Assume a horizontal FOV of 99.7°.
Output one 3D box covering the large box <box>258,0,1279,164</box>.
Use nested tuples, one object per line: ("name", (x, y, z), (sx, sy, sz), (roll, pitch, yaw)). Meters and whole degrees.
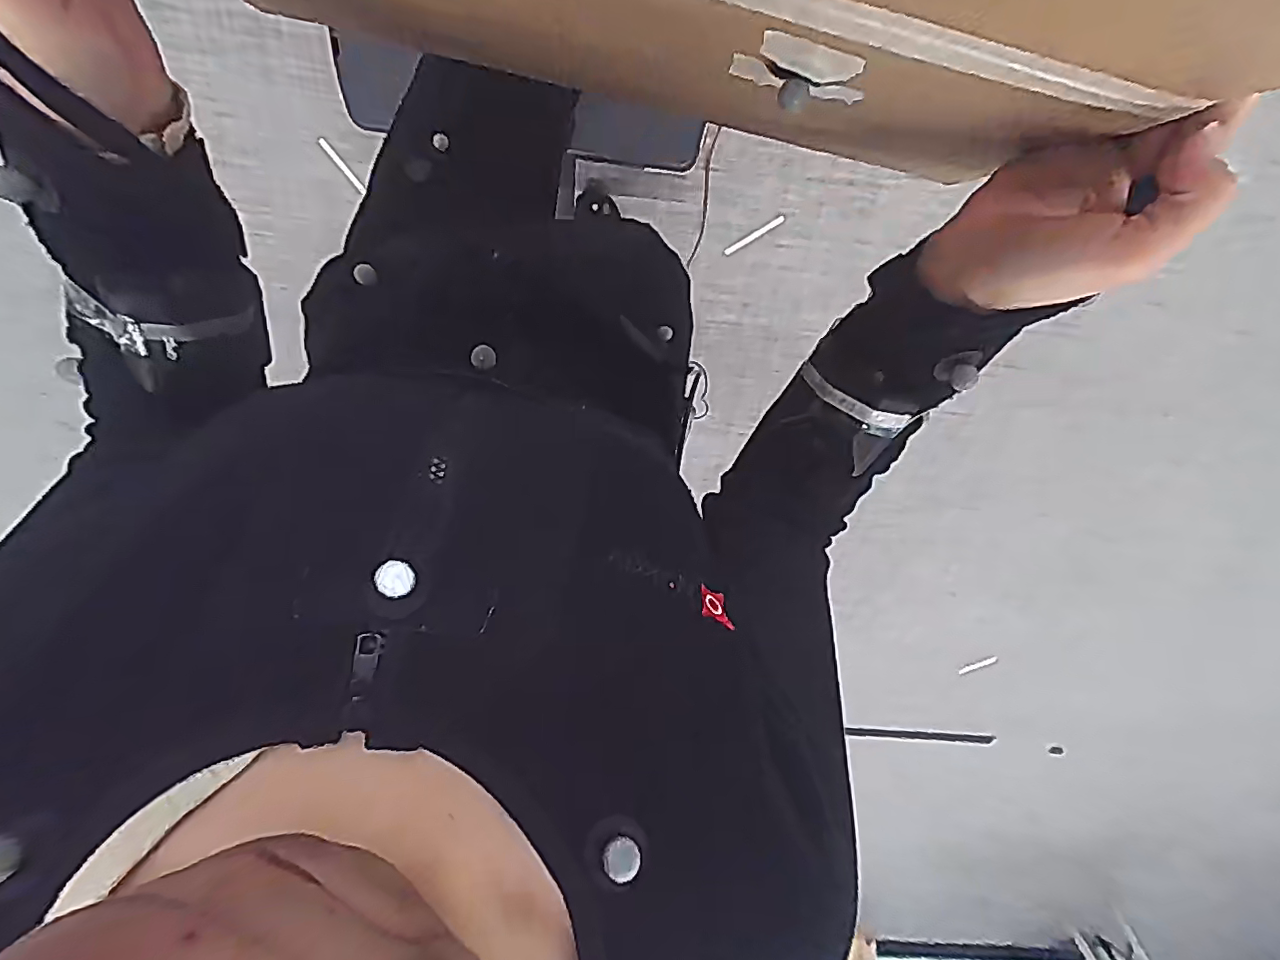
("large box", (0.029, -0.313, 0.122), (0.408, 0.320, 0.320), (9, 110, -7))
